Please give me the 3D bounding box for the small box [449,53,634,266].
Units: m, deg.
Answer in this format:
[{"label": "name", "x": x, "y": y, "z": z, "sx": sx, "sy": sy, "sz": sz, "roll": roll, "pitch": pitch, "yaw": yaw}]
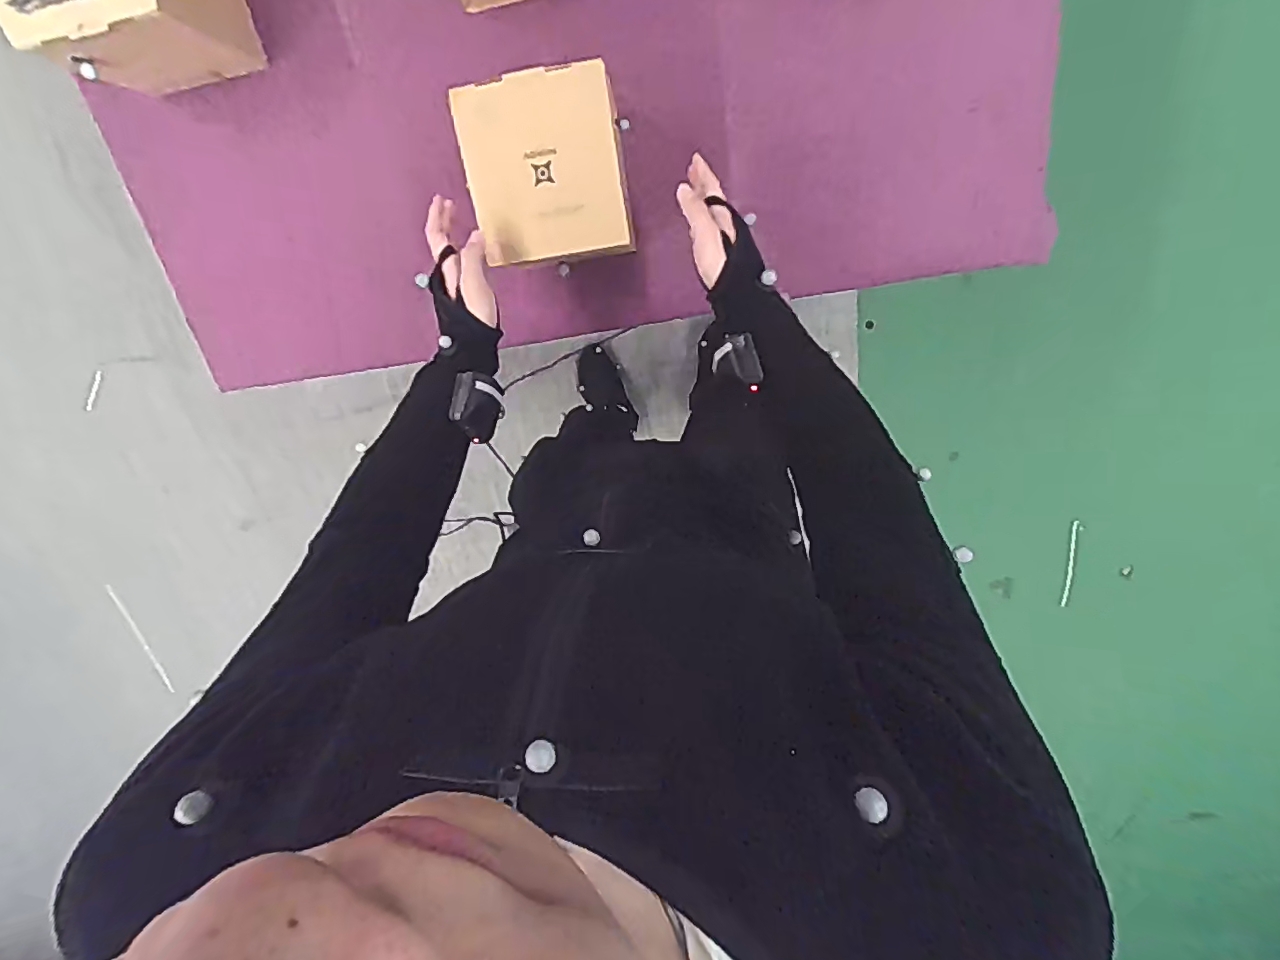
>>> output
[{"label": "small box", "x": -0.100, "y": -0.358, "z": 0.639, "sx": 0.168, "sy": 0.176, "sz": 0.179, "roll": -7, "pitch": 111, "yaw": 5}]
